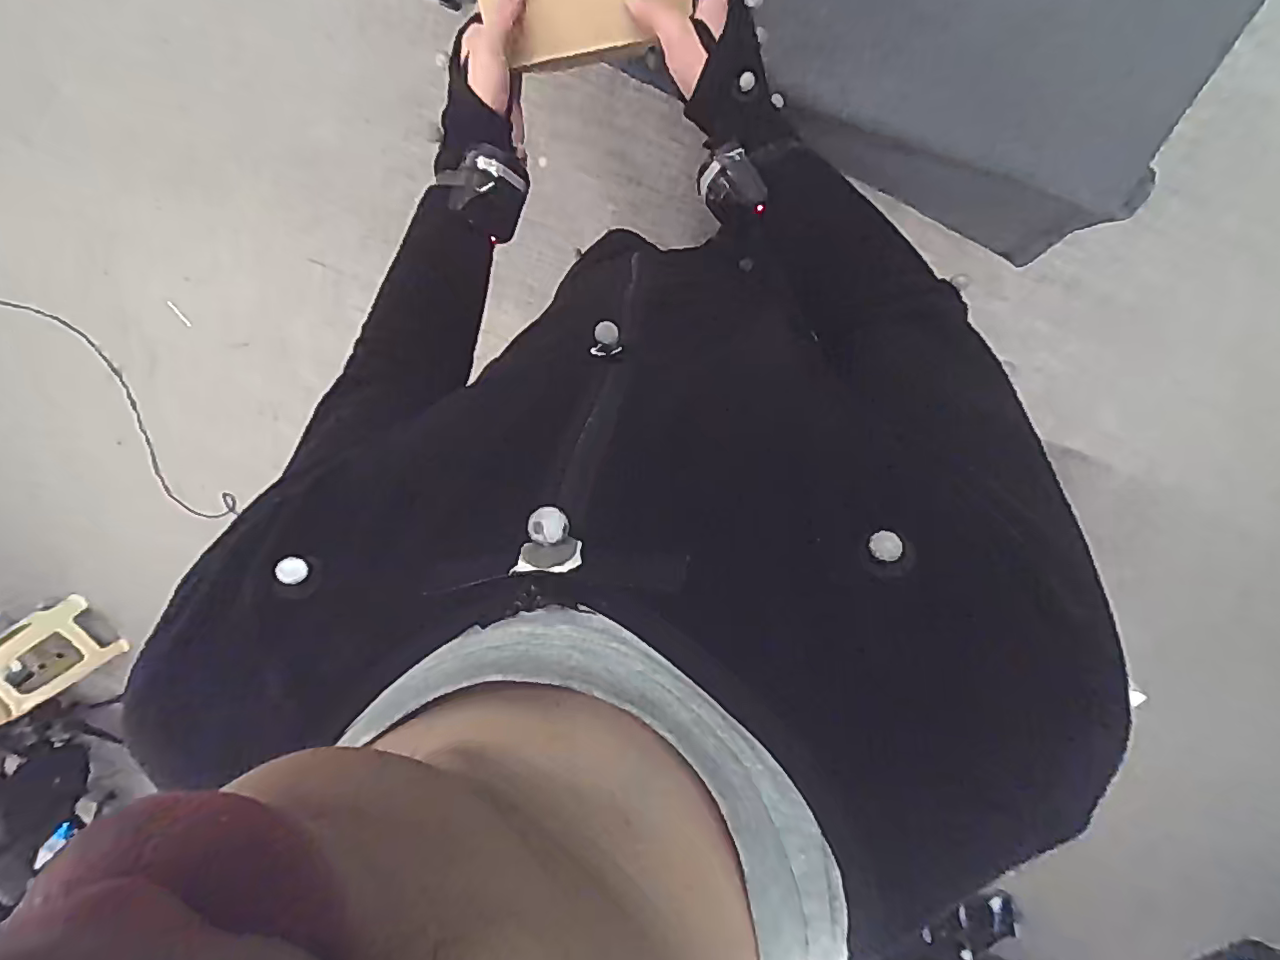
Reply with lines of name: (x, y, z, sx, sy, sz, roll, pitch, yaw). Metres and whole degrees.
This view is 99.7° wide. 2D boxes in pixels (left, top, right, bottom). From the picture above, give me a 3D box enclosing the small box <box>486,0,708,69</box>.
small box: (-0.036, -0.467, 0.459, 0.179, 0.176, 0.168, -3, 125, 11)
